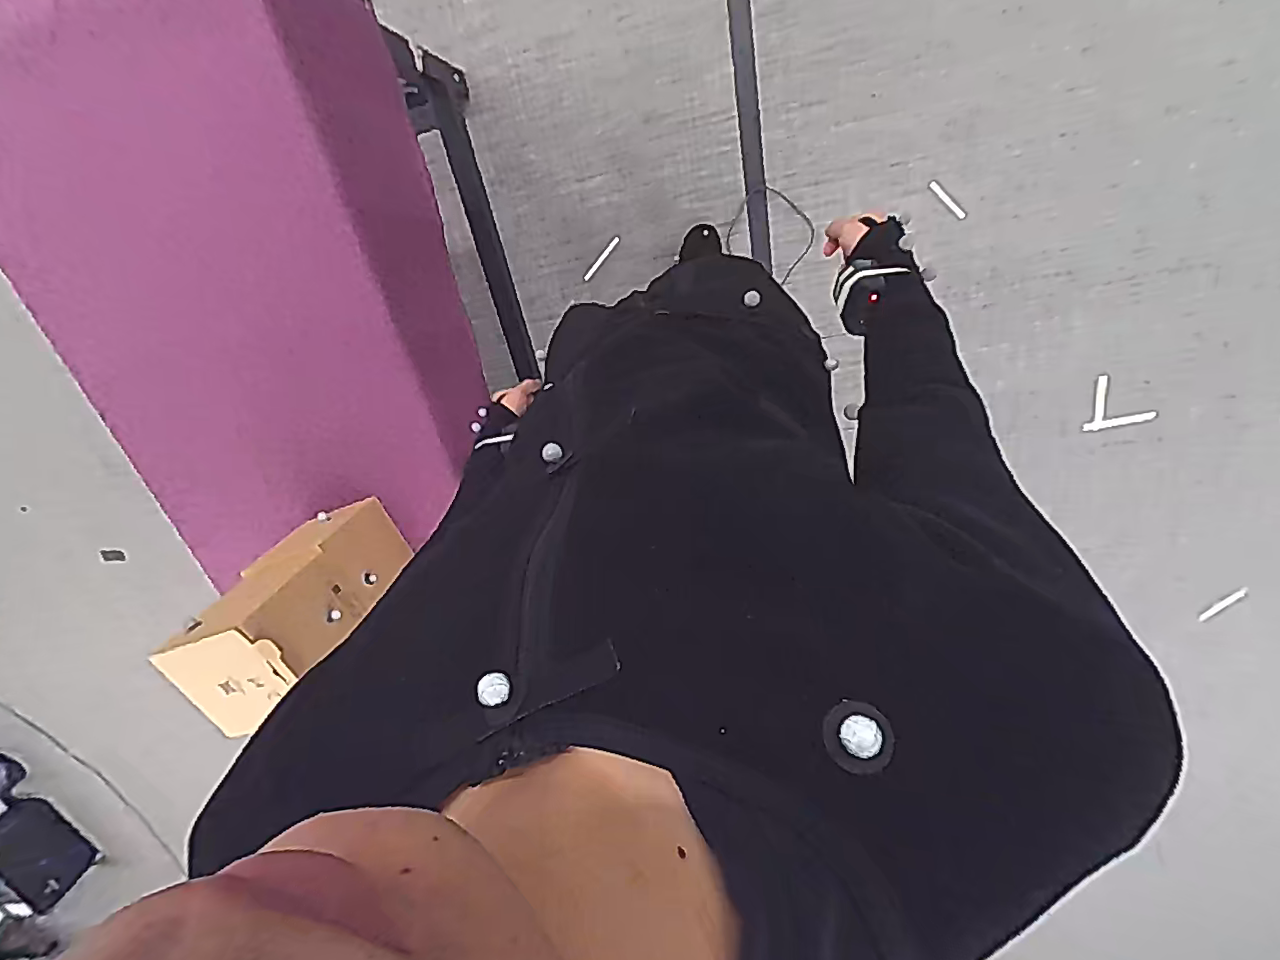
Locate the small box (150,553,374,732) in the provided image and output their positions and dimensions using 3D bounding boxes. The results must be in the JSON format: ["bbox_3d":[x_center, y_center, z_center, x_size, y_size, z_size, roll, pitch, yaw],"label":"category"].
[{"bbox_3d":[-0.545,0.237,0.806,0.179,0.176,0.168,-19,113,15],"label":"small box"}]

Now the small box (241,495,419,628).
[{"bbox_3d":[-0.526,0.154,0.949,0.168,0.176,0.179,-18,113,14],"label":"small box"}]
